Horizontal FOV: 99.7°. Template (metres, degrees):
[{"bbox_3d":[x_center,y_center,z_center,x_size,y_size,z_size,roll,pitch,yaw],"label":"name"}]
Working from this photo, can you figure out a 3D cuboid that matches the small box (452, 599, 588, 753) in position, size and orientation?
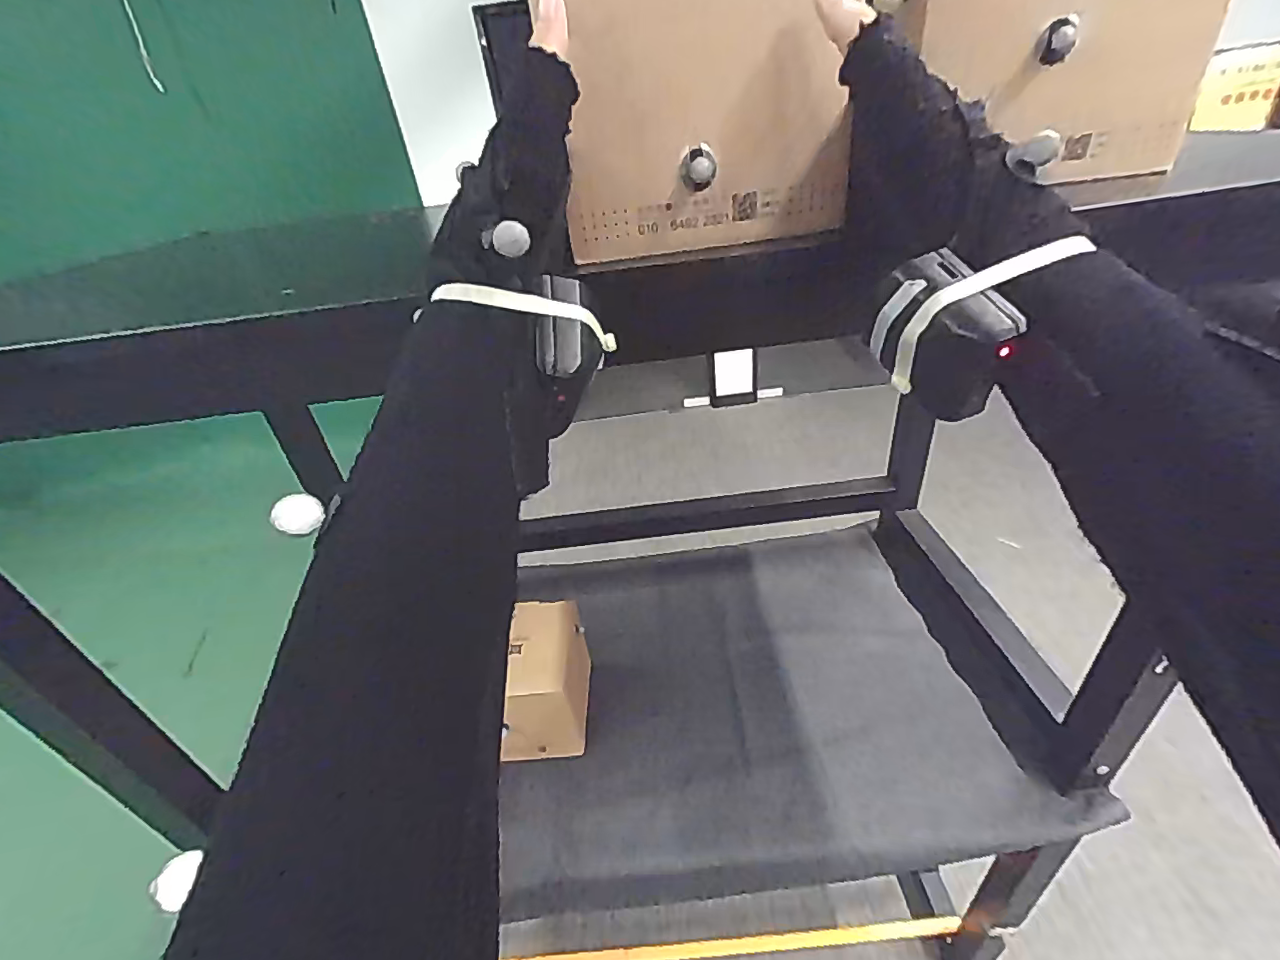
[{"bbox_3d":[-0.180,0.320,0.876,0.168,0.176,0.179,-6,32,2],"label":"small box"}]

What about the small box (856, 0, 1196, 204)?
[{"bbox_3d":[0.267,-0.313,0.405,0.168,0.176,0.179,0,33,11],"label":"small box"}]
